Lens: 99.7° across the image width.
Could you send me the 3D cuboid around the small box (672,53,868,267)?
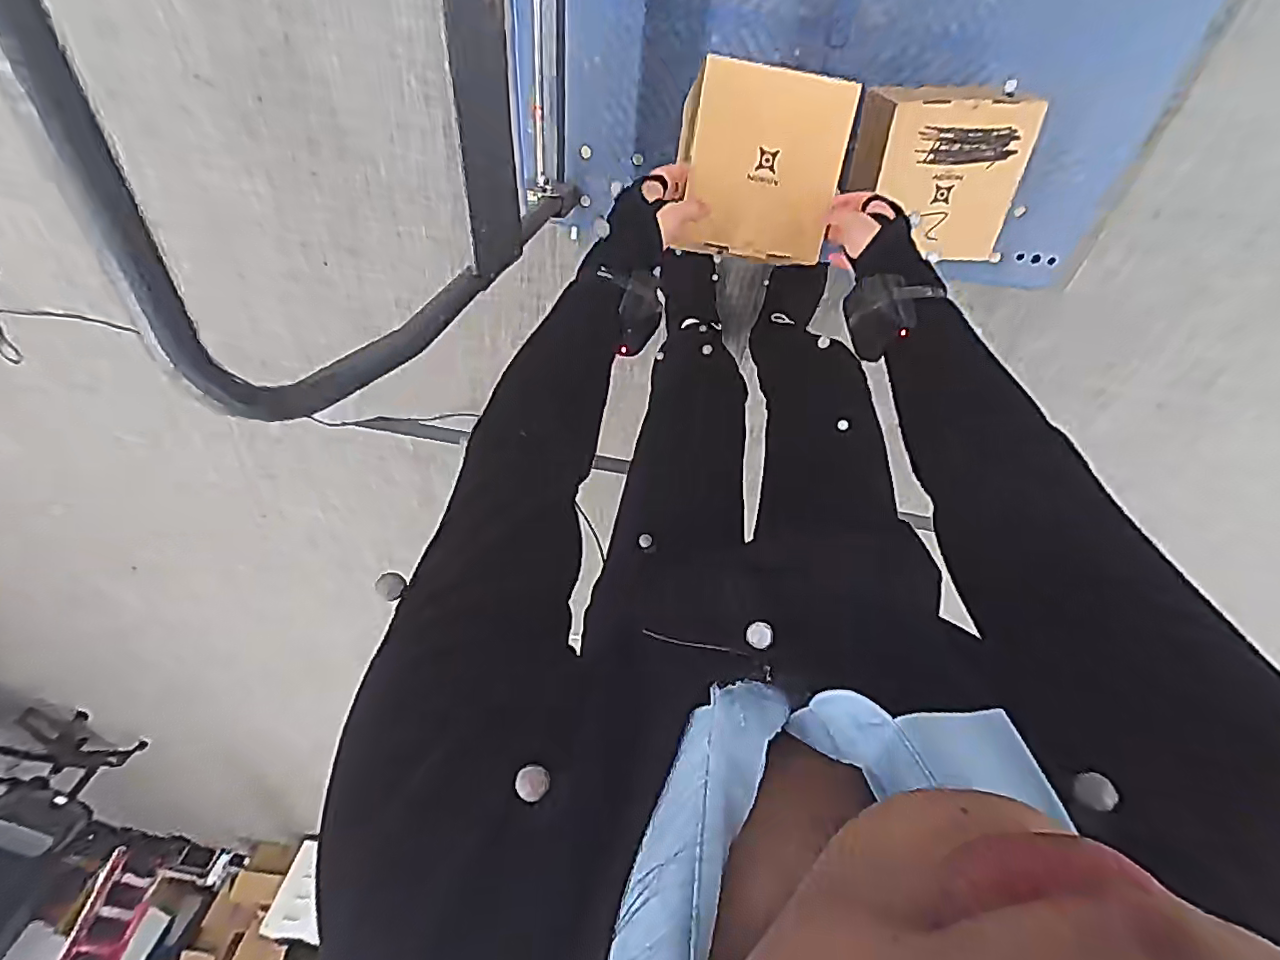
[{"bbox_3d":[0.136,-0.360,0.643,0.168,0.176,0.179,7,112,-5],"label":"small box"}]
